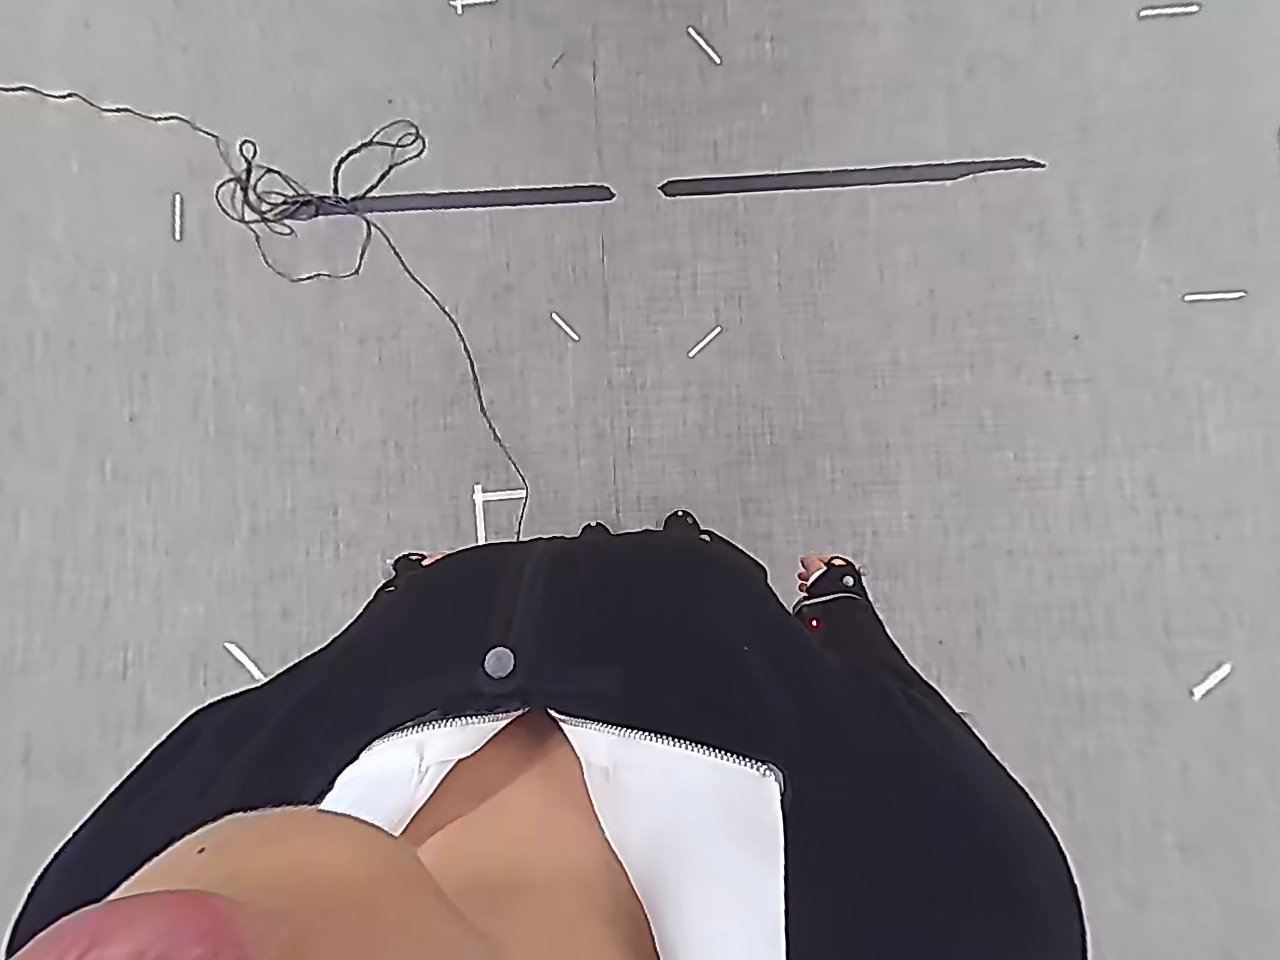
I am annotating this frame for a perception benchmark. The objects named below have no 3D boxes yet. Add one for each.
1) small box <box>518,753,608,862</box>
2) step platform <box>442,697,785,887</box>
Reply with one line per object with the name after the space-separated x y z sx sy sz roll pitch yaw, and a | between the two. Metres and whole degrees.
-0.163 0.714 1.204 0.179 0.176 0.168 -3 87 2 | small box
-0.052 0.653 1.165 0.684 0.204 0.286 -5 88 3 | step platform
